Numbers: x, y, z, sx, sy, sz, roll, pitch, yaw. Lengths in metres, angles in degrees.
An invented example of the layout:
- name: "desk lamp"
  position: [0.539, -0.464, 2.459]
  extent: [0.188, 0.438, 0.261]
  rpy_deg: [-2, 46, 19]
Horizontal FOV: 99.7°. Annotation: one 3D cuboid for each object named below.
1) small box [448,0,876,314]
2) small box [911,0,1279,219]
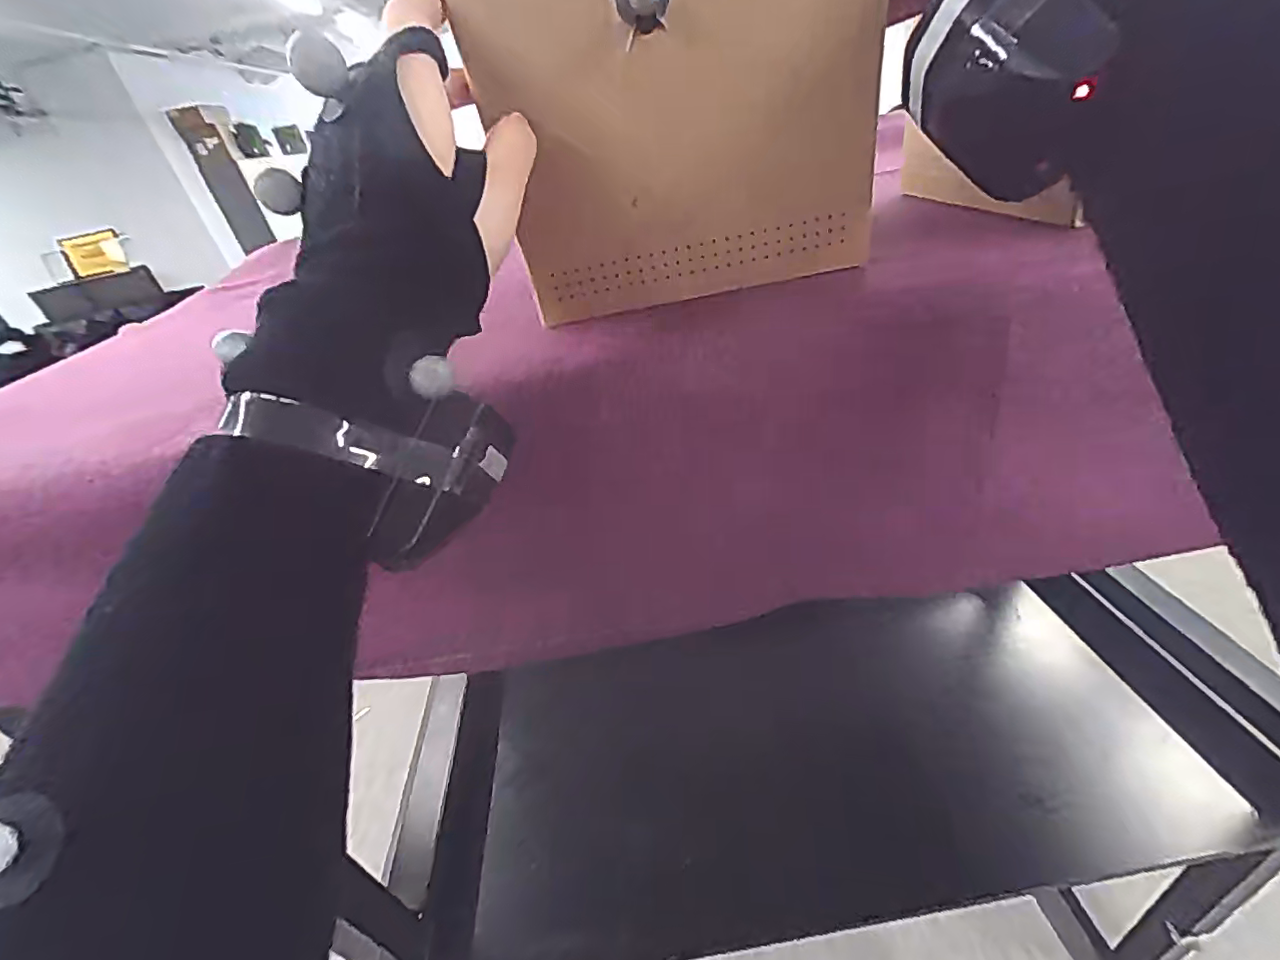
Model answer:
- name: "small box"
  position: [0.015, -0.205, 0.292]
  extent: [0.179, 0.176, 0.168]
  rpy_deg: [-10, 38, 4]
- name: "small box"
  position: [0.269, -0.249, 0.288]
  extent: [0.168, 0.176, 0.179]
  rpy_deg: [-11, 32, 1]
